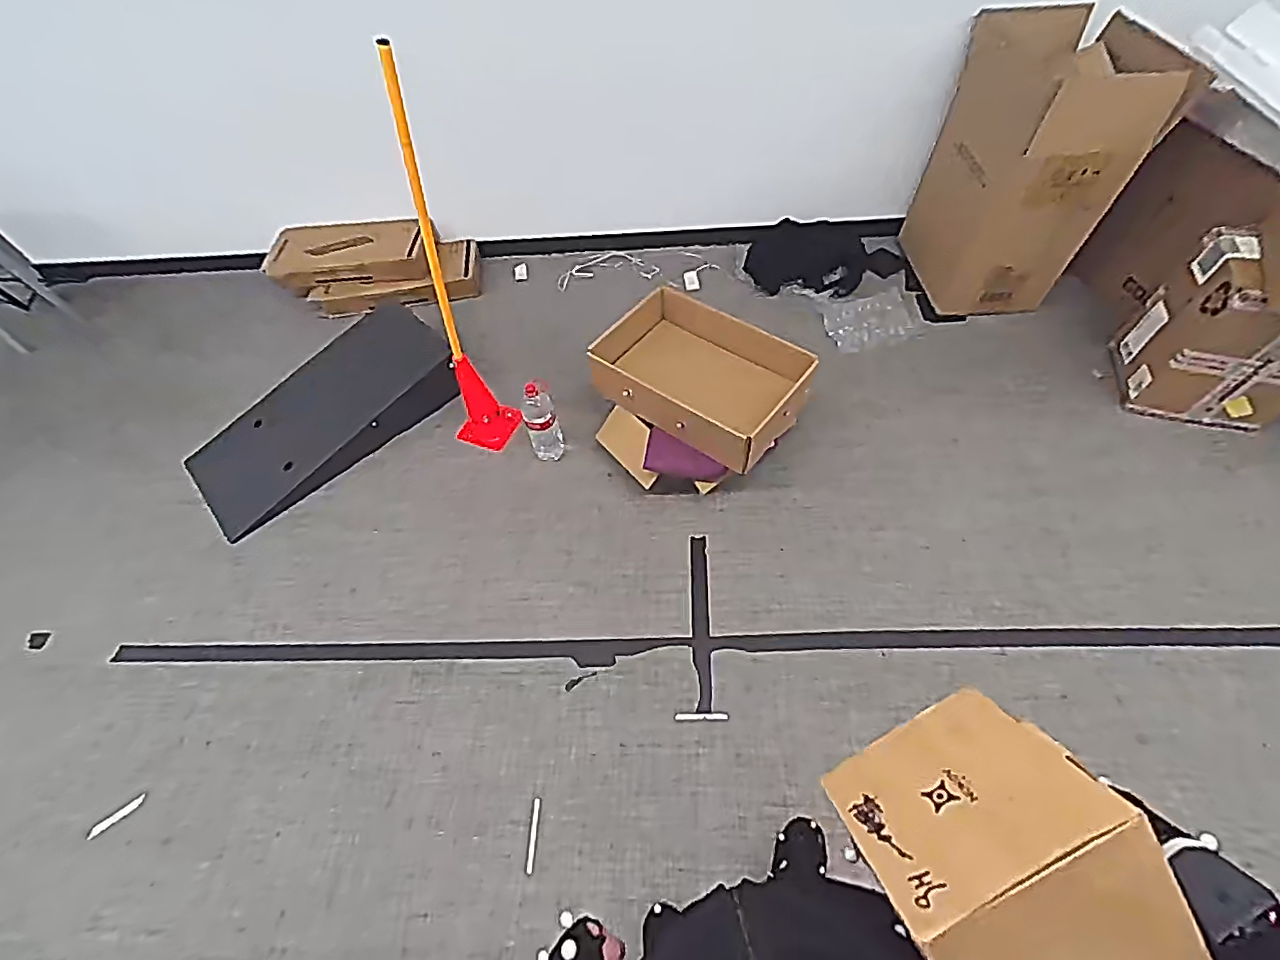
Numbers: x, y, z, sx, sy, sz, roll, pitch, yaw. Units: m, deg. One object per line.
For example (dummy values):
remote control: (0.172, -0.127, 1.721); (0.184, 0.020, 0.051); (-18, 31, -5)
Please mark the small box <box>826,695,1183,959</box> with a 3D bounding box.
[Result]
small box: (0.301, 0.332, 0.464); (0.179, 0.168, 0.176); (-30, 98, 0)
